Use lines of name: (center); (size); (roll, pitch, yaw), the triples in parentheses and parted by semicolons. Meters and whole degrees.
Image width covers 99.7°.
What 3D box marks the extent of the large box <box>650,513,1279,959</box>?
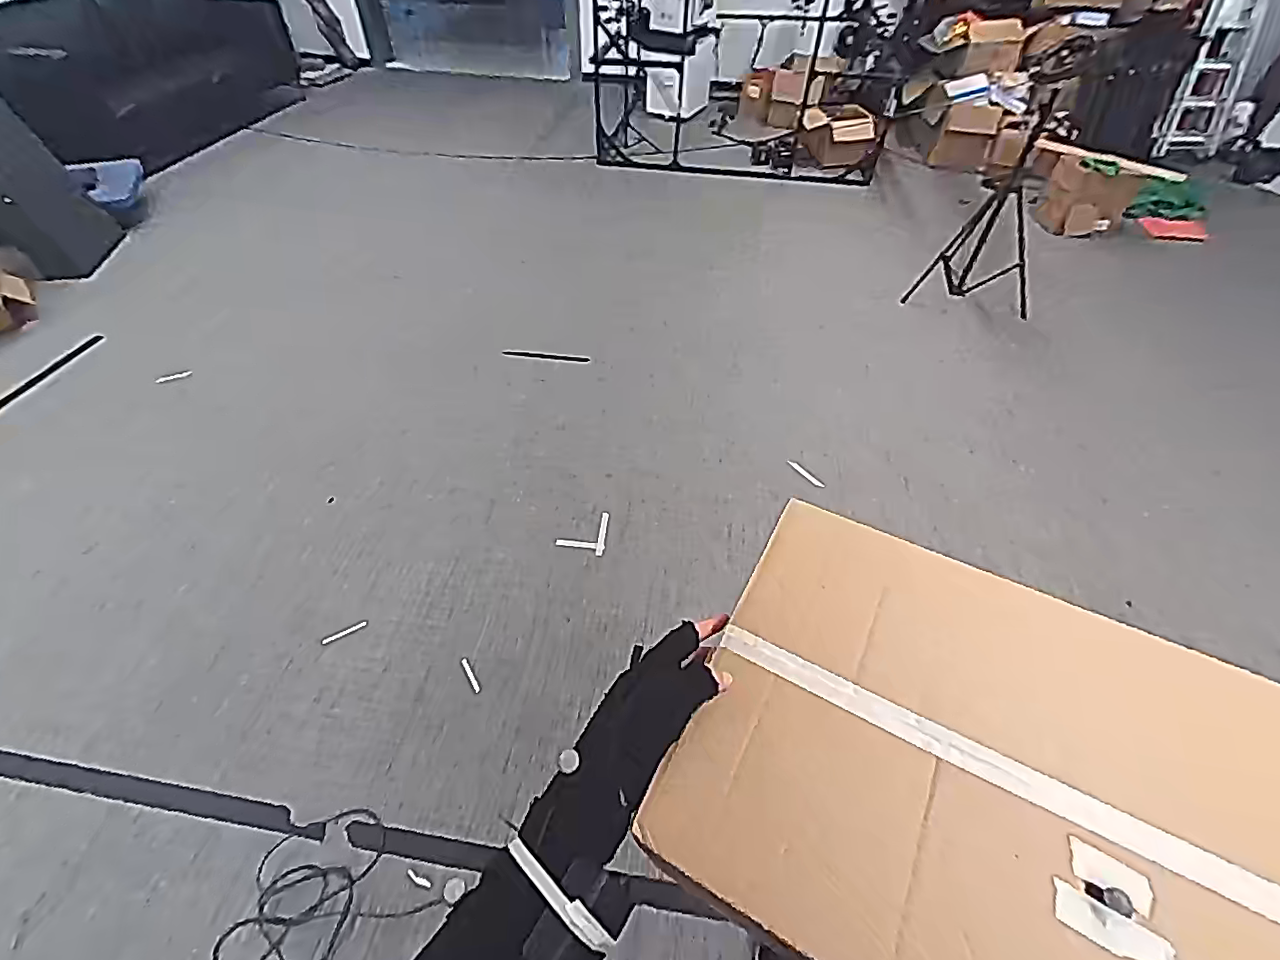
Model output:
large box: (0.256, 0.296, 0.502); (0.408, 0.320, 0.320); (22, 58, 20)
